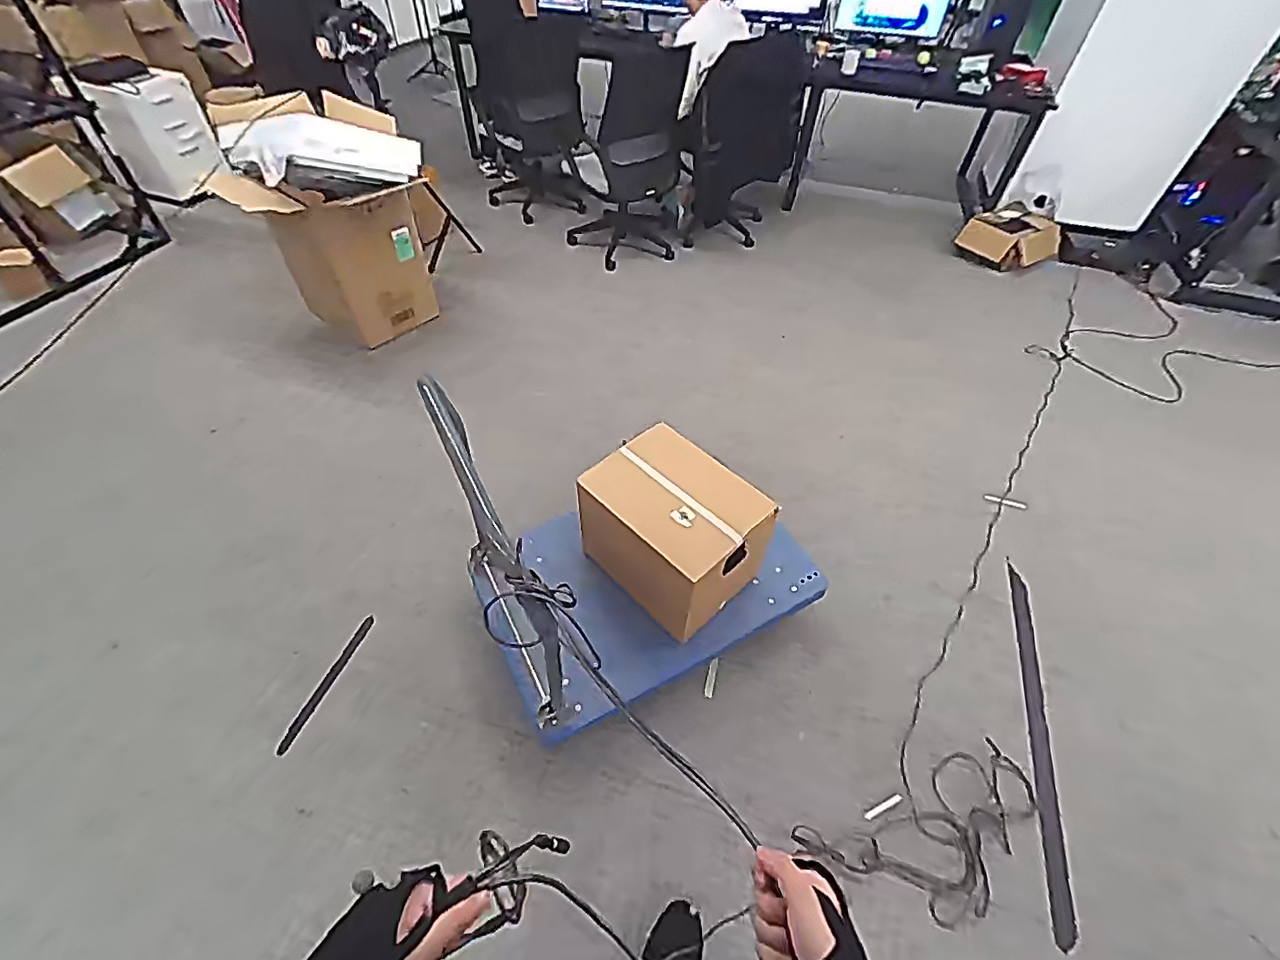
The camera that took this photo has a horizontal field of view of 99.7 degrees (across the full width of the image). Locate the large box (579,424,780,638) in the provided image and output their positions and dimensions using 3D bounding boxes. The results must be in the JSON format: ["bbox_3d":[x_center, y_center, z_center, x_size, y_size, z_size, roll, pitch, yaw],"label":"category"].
[{"bbox_3d":[0.085,0.127,1.422,0.320,0.320,0.408,-36,60,-27],"label":"large box"}]
